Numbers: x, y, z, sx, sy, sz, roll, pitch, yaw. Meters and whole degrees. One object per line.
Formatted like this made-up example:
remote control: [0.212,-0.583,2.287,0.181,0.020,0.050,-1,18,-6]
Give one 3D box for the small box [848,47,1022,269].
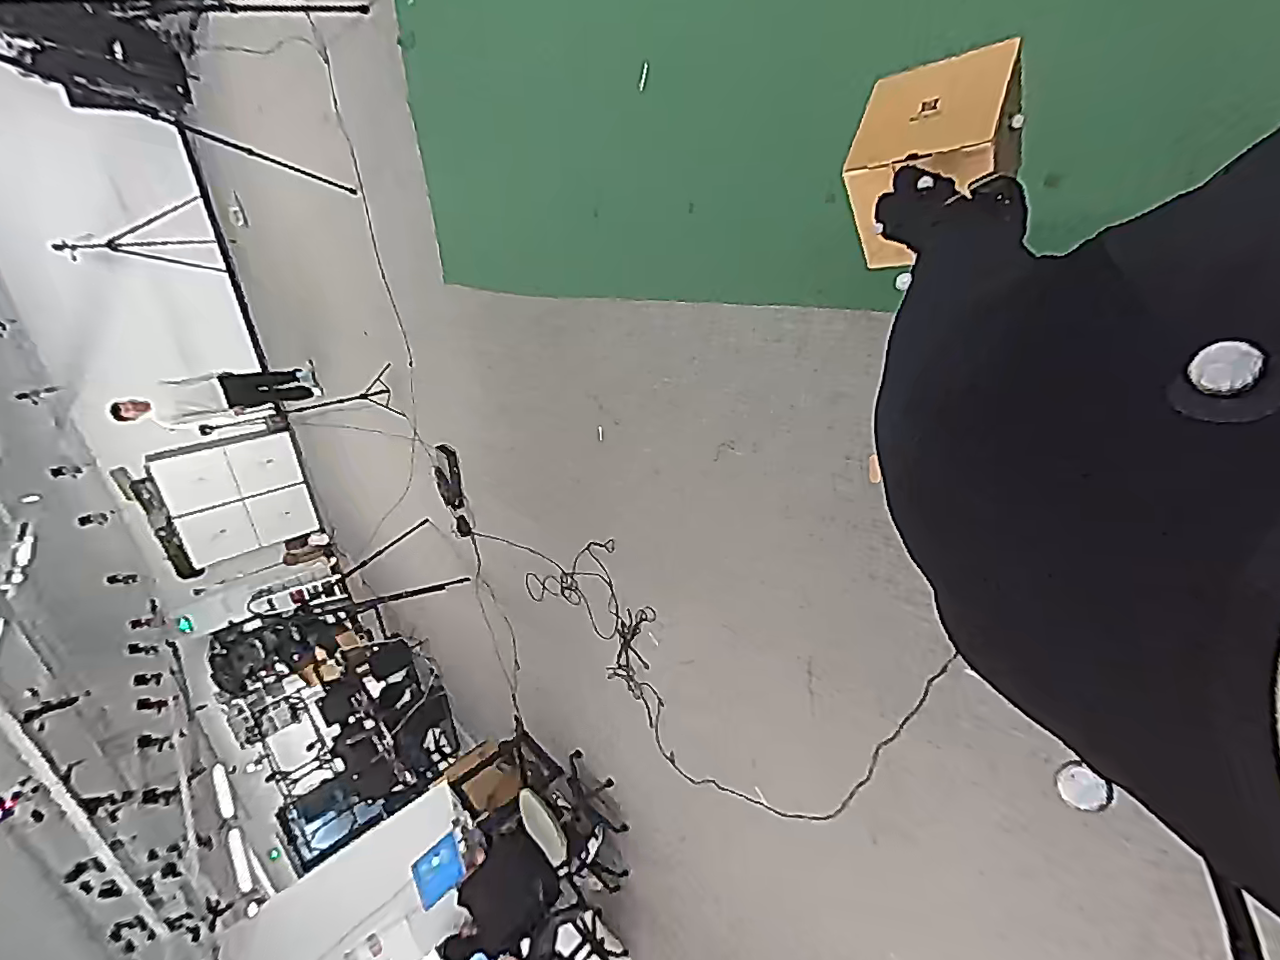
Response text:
small box: [0.404,-0.419,0.733,0.168,0.179,0.176,9,159,39]
